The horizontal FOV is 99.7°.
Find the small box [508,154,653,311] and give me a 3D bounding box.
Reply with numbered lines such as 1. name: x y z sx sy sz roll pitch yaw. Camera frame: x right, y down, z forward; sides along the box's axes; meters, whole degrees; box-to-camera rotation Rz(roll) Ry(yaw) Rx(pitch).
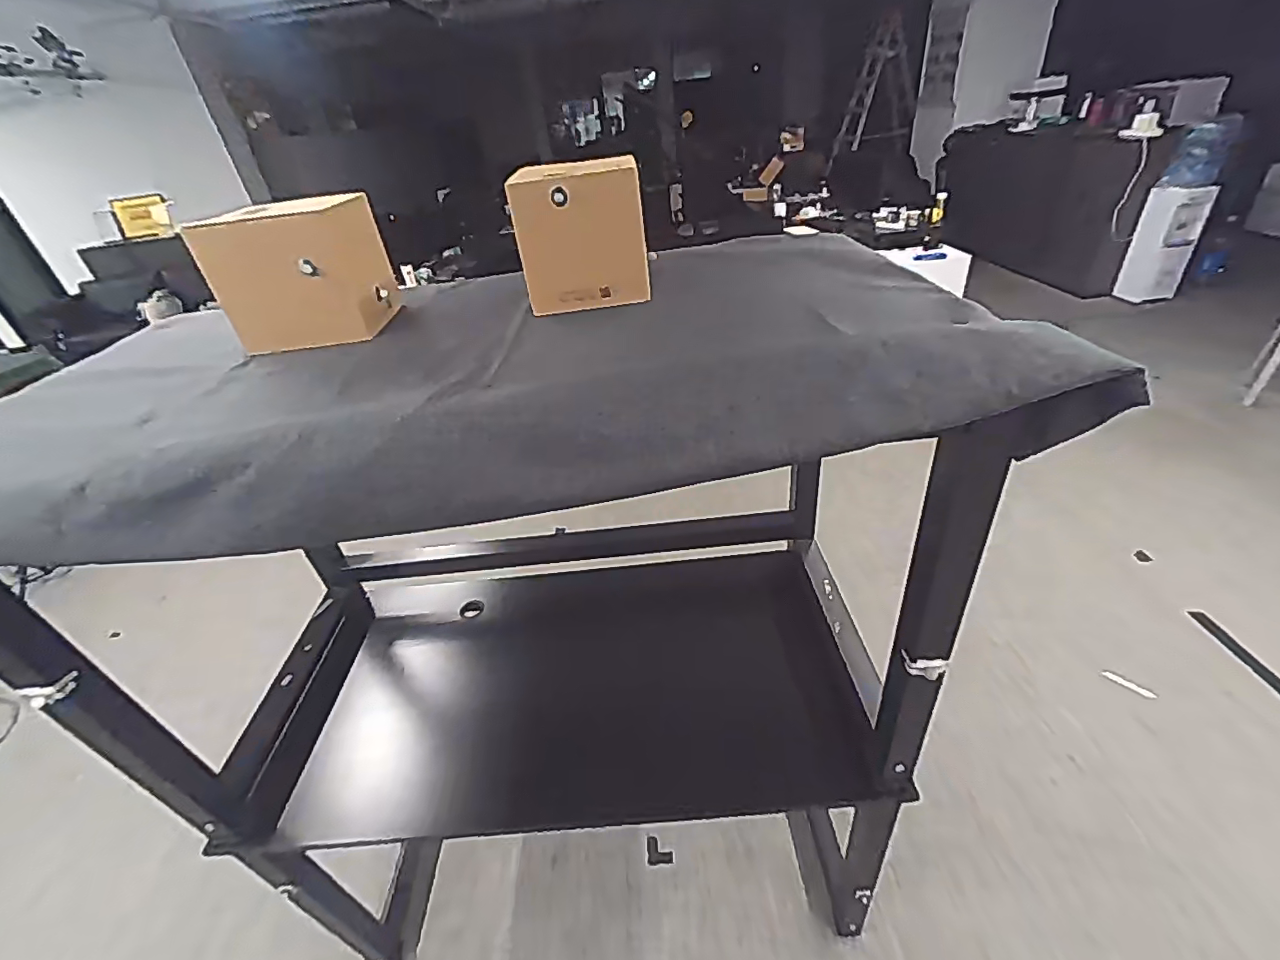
1. small box: -0.073 -0.349 0.760 0.168 0.176 0.179 -7 34 2
